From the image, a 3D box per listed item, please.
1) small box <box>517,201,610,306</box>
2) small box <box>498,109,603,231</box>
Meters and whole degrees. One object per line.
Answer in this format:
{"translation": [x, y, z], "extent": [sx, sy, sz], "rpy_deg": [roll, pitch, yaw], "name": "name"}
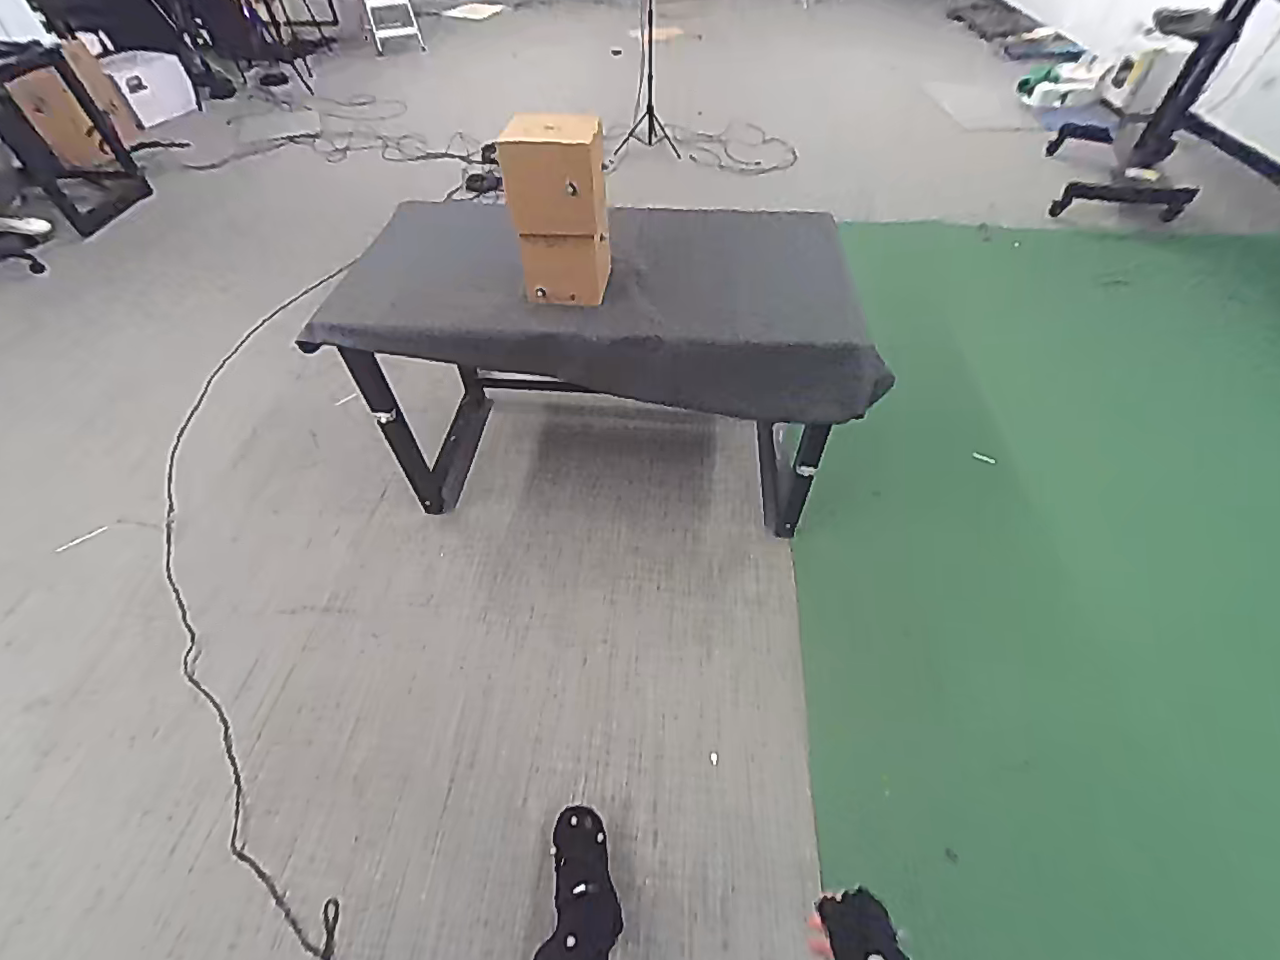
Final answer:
{"translation": [-0.162, -0.509, 1.216], "extent": [0.168, 0.176, 0.179], "rpy_deg": [4, 49, 4], "name": "small box"}
{"translation": [-0.164, -0.608, 1.067], "extent": [0.179, 0.176, 0.168], "rpy_deg": [0, 49, 0], "name": "small box"}
